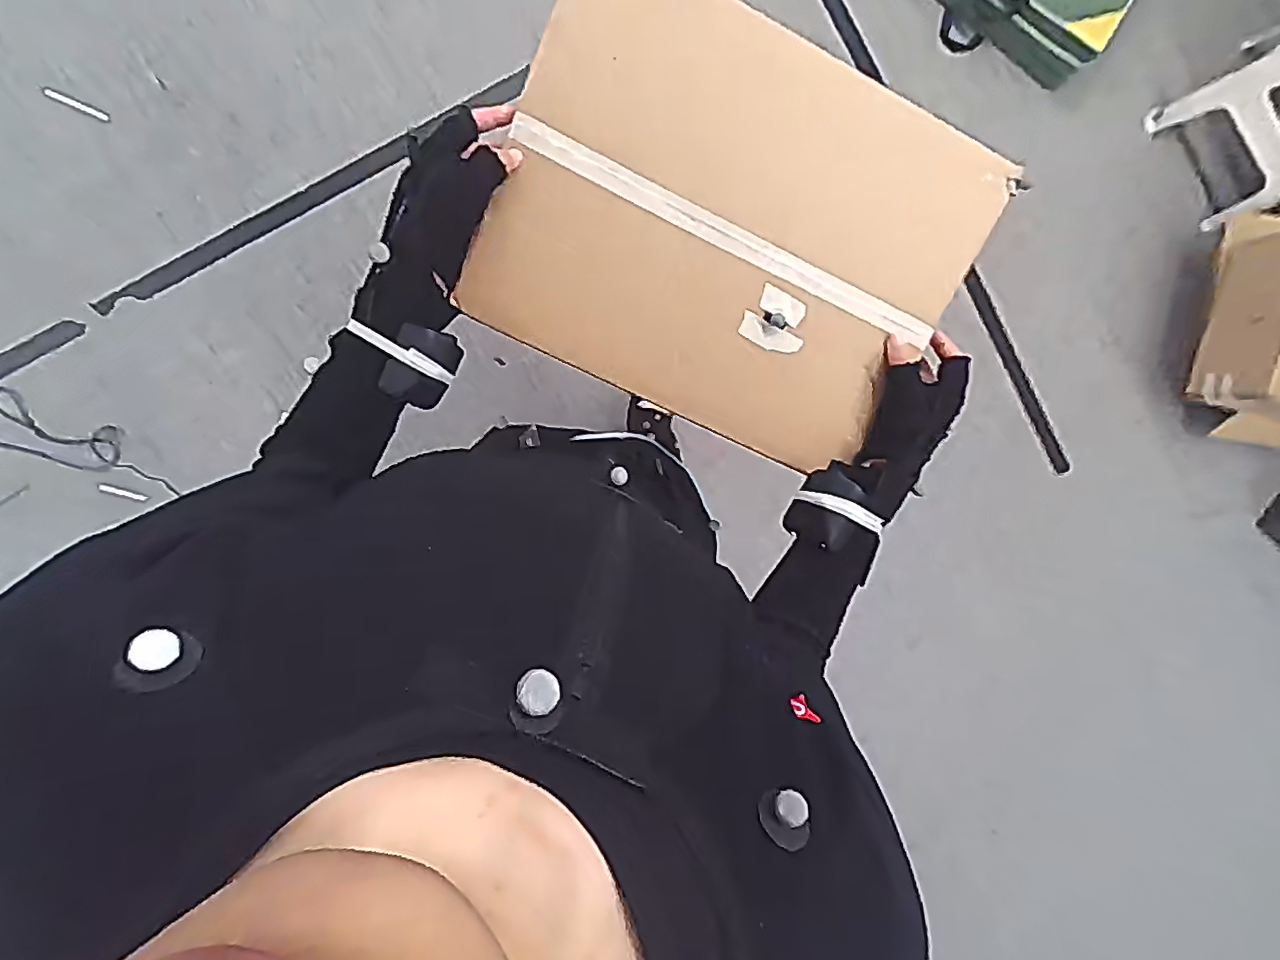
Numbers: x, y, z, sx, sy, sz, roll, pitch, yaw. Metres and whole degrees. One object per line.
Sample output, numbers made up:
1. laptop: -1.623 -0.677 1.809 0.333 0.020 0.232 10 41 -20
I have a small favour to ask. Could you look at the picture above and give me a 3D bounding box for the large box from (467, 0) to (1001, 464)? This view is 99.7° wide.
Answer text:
1. large box: 0.074 -0.261 0.627 0.408 0.320 0.320 24 103 -9
